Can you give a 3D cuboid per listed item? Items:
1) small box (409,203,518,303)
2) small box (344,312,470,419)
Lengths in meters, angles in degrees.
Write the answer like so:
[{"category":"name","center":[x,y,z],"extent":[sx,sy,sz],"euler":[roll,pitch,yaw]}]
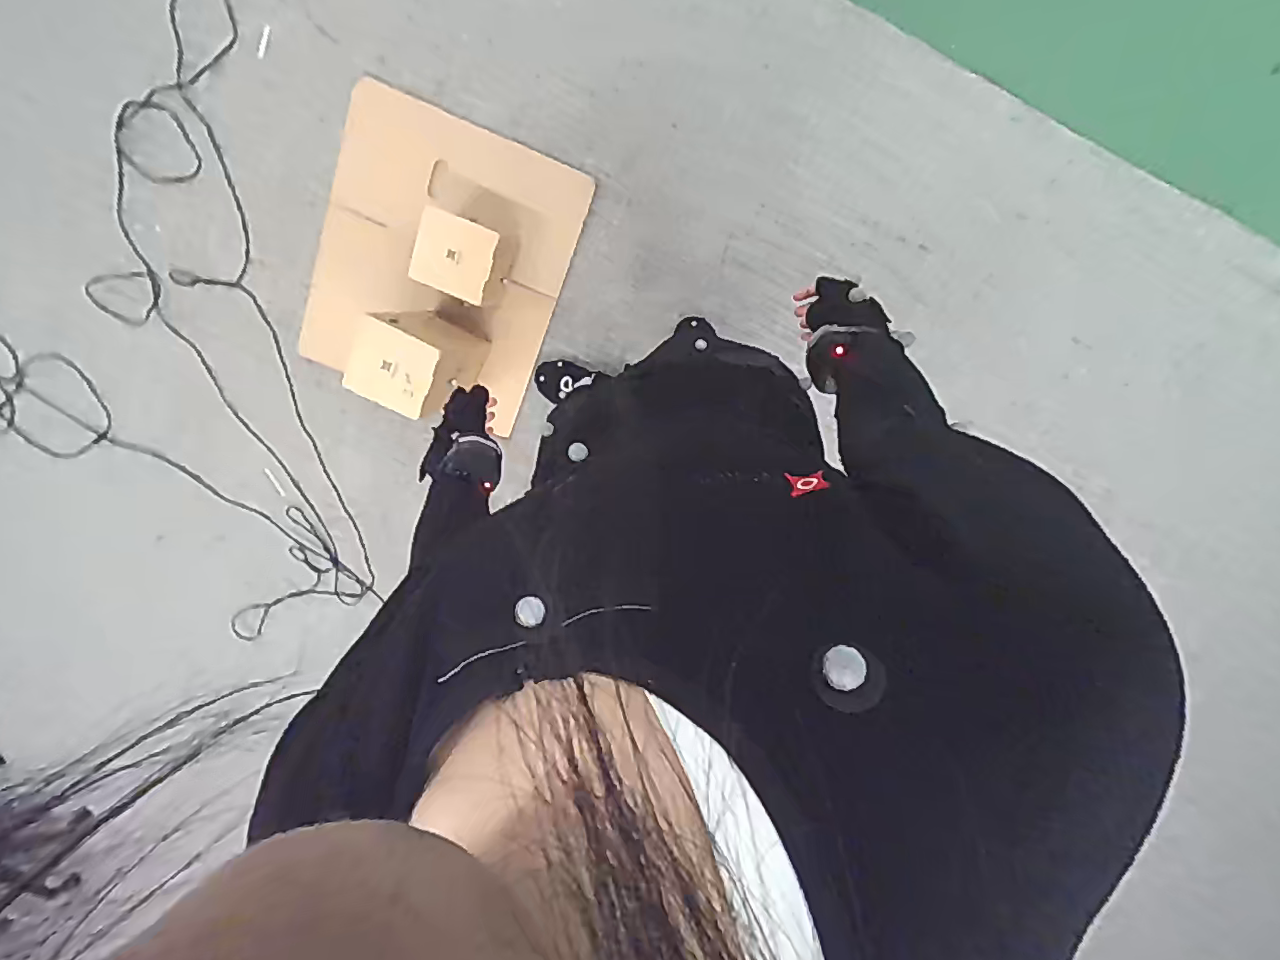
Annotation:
[{"category":"small box","center":[-0.411,-0.526,1.282],"extent":[0.179,0.176,0.168],"euler":[21,107,-4]},{"category":"small box","center":[-0.507,-0.257,1.196],"extent":[0.179,0.176,0.168],"euler":[25,108,-5]}]
